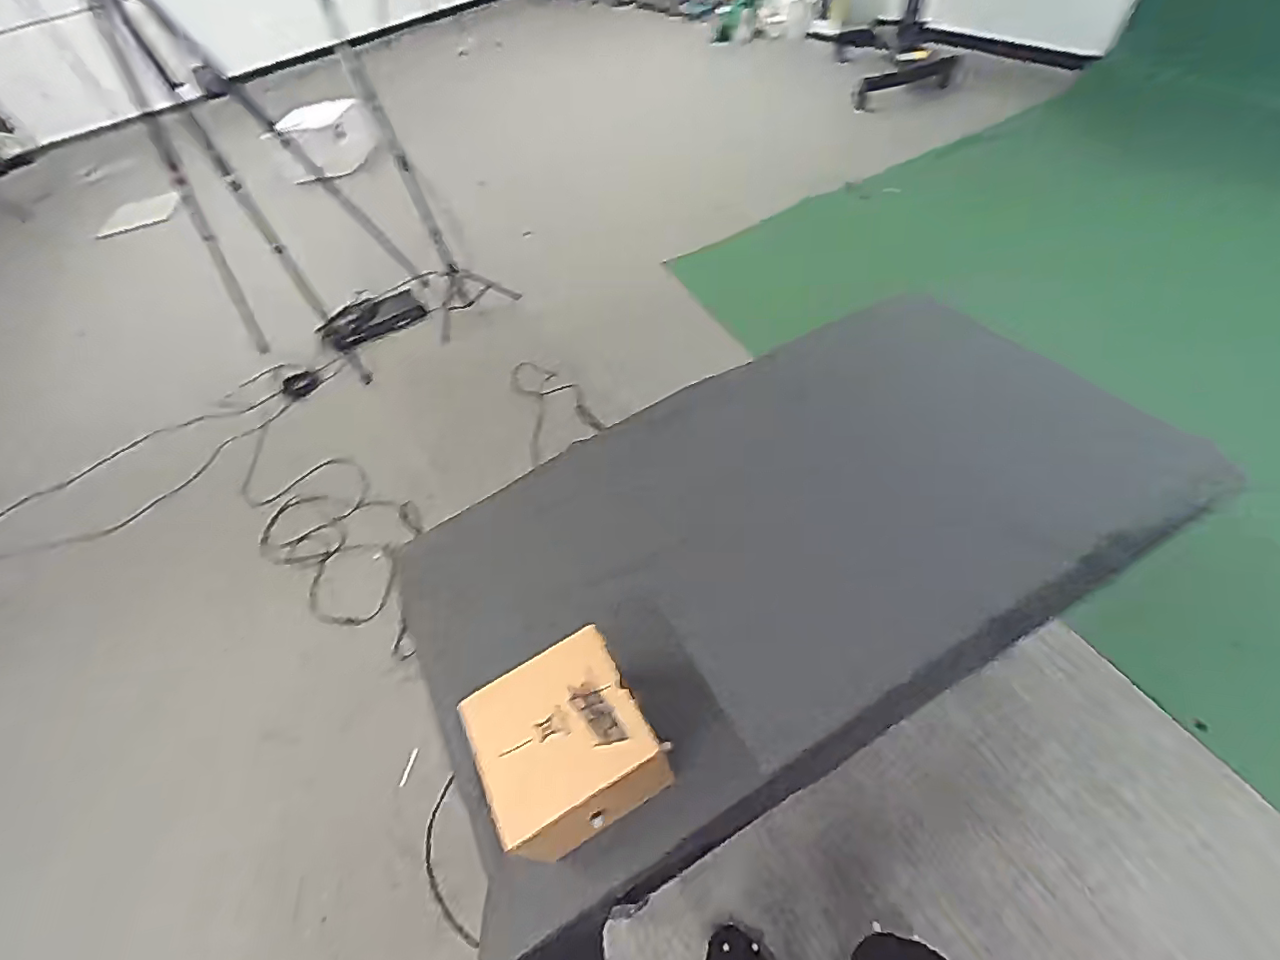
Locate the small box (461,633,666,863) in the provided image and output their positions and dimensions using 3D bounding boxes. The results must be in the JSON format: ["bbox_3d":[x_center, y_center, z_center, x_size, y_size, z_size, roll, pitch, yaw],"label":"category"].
[{"bbox_3d":[-0.081,0.321,0.645,0.179,0.176,0.168,-28,52,-11],"label":"small box"}]
